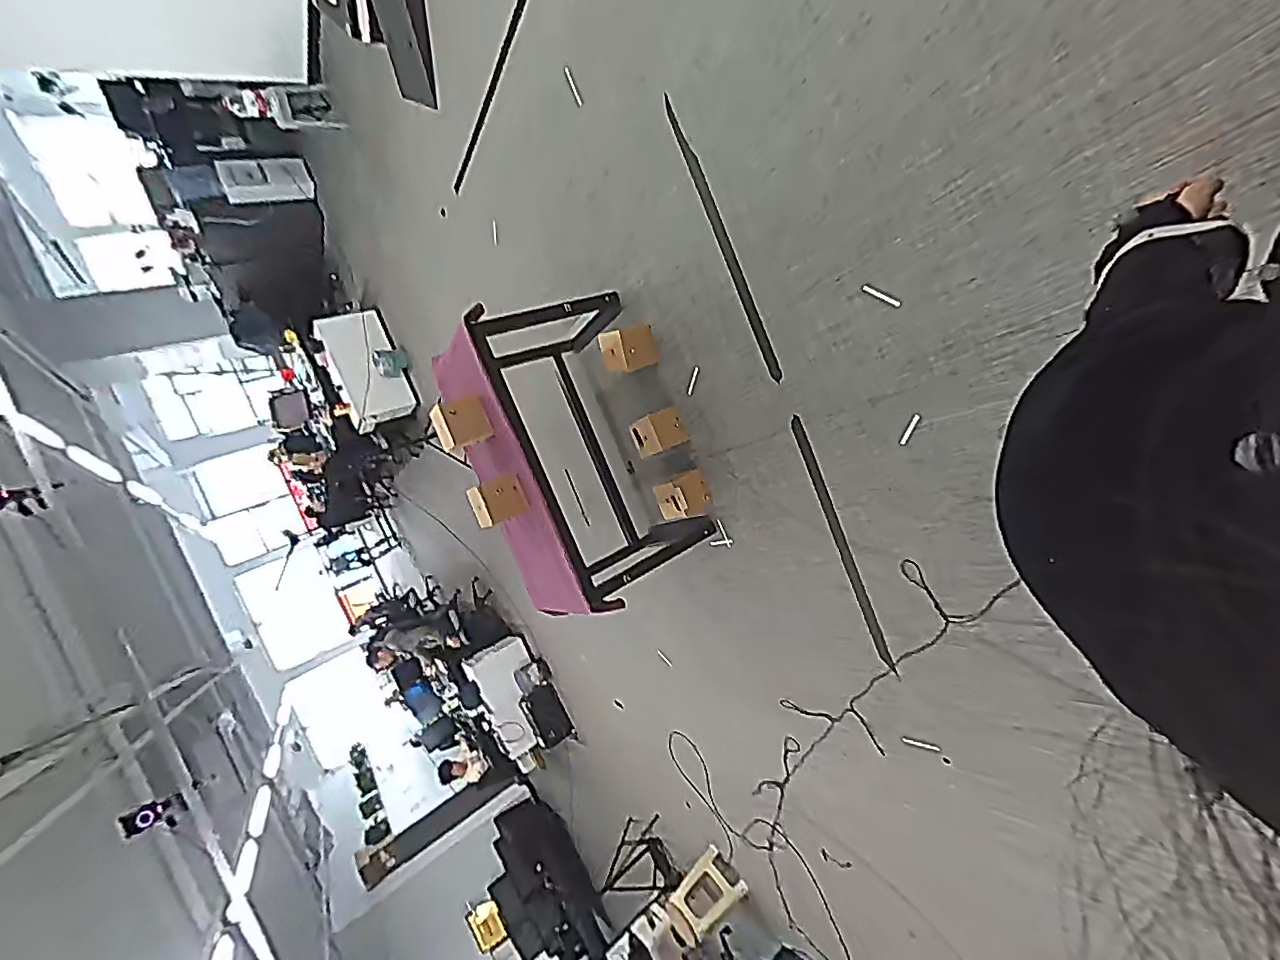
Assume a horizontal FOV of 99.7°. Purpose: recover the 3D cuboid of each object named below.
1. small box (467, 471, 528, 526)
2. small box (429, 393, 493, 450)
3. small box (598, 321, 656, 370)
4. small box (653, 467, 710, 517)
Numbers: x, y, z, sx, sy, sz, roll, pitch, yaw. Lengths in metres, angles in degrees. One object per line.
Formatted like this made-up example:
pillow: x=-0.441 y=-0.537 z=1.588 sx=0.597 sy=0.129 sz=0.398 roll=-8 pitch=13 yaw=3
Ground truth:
small box: x=-0.569 y=0.075 z=2.180 sx=0.179 sy=0.176 sz=0.168 roll=-16 pitch=97 yaw=59
small box: x=-0.722 y=-0.239 z=2.183 sx=0.168 sy=0.176 sz=0.179 roll=-15 pitch=100 yaw=58
small box: x=-0.054 y=-0.588 z=2.361 sx=0.168 sy=0.176 sz=0.179 roll=9 pitch=120 yaw=52
small box: x=0.194 y=0.053 z=2.437 sx=0.179 sy=0.176 sz=0.168 roll=-16 pitch=98 yaw=58
